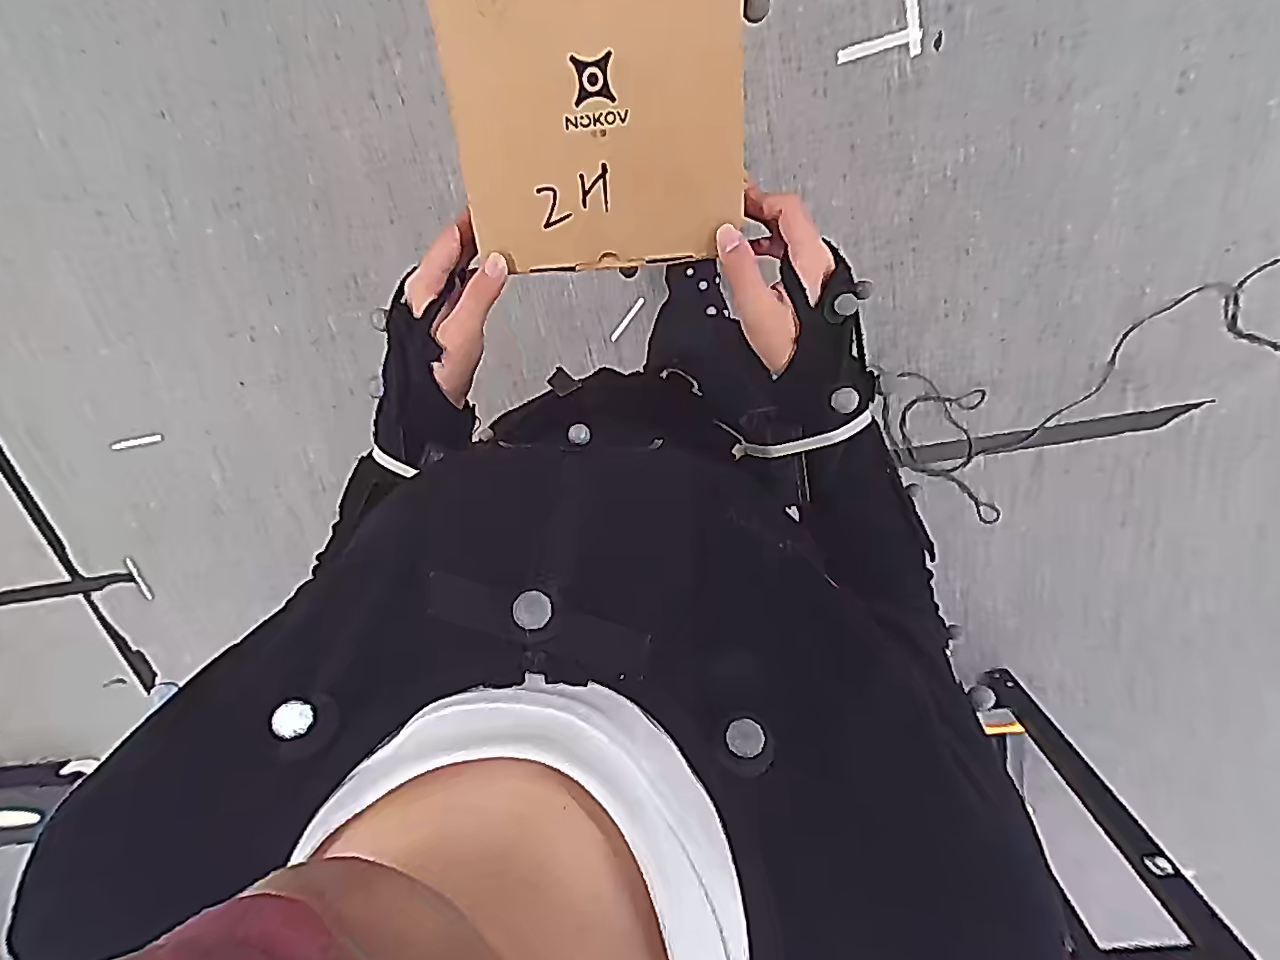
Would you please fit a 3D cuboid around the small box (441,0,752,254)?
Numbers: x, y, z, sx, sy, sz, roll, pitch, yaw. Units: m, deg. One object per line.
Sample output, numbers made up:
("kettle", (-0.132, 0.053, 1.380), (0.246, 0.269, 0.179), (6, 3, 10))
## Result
("small box", (-0.016, -0.254, 0.367), (0.168, 0.176, 0.179), (-2, 115, 6))
